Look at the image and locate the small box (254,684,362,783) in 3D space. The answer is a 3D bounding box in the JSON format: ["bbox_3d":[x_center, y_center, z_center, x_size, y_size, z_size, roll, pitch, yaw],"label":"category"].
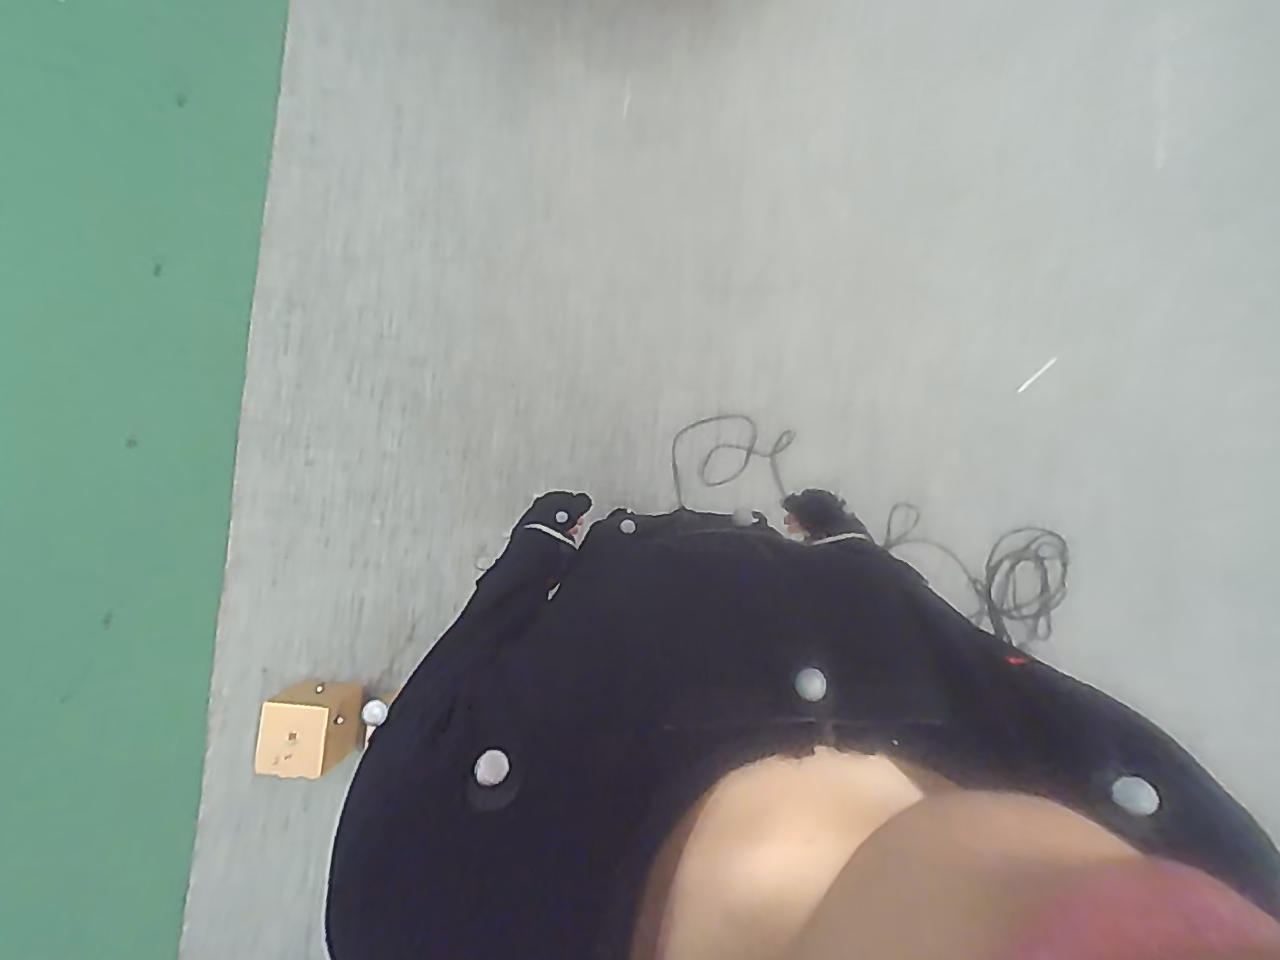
[{"bbox_3d":[-0.837,0.638,1.382,0.168,0.176,0.179,5,87,2],"label":"small box"}]
